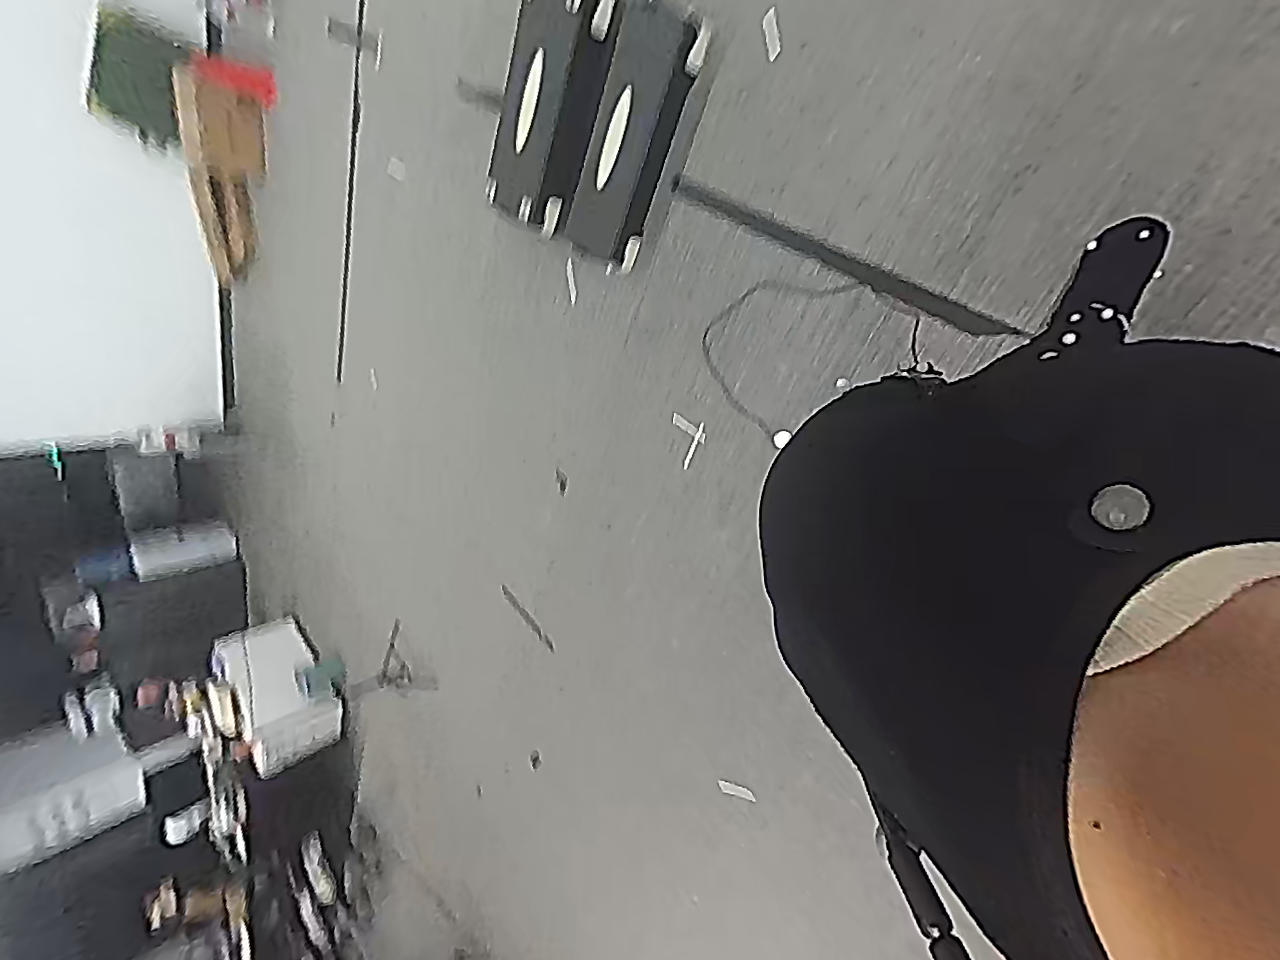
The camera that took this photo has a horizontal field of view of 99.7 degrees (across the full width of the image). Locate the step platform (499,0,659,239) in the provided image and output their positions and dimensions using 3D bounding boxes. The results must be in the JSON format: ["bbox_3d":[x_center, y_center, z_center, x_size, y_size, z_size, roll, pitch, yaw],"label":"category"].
[{"bbox_3d":[-0.216,-1.149,1.705,0.286,0.204,0.684,45,124,25],"label":"step platform"}]
